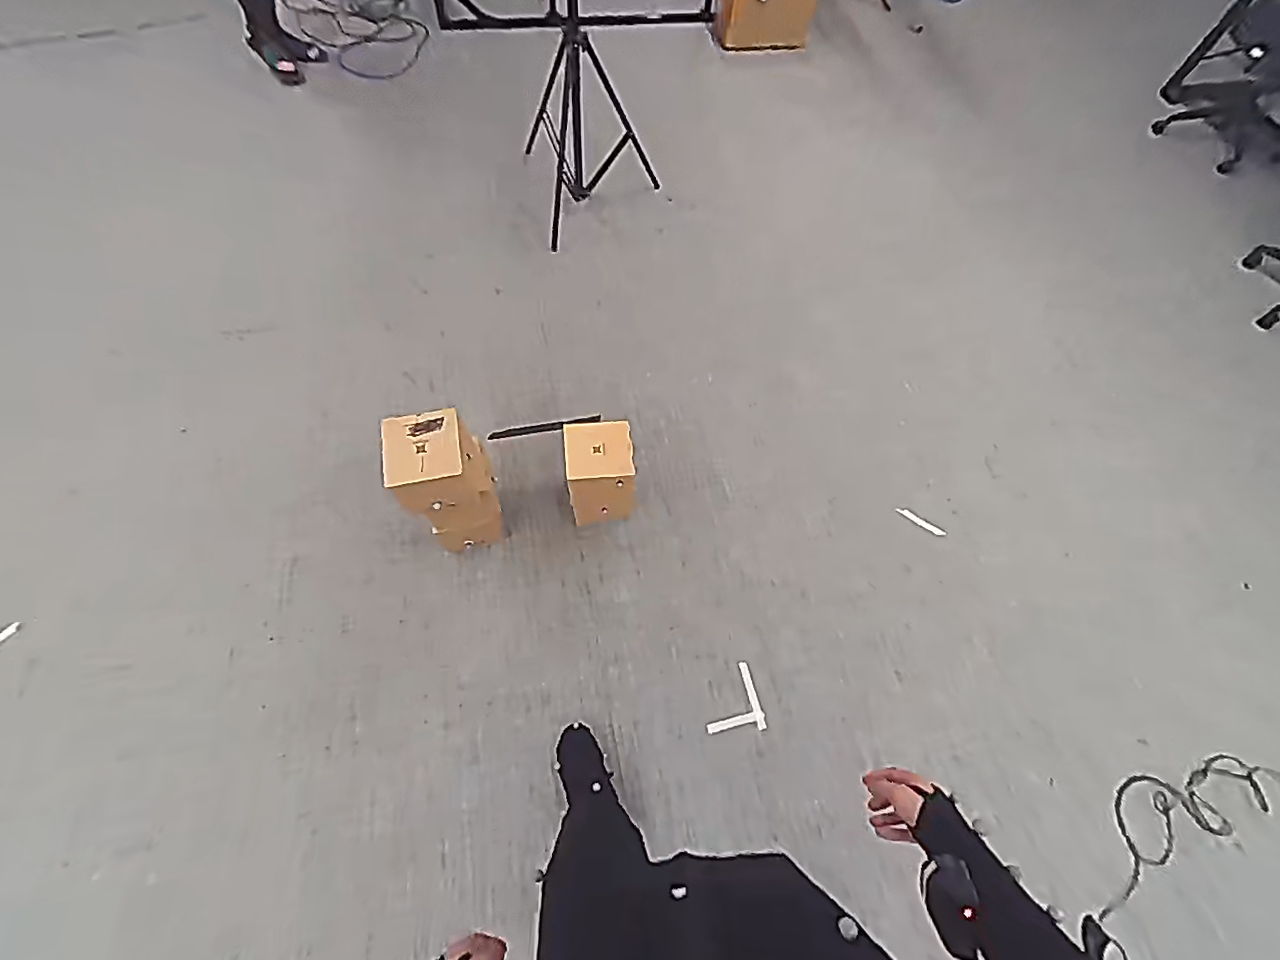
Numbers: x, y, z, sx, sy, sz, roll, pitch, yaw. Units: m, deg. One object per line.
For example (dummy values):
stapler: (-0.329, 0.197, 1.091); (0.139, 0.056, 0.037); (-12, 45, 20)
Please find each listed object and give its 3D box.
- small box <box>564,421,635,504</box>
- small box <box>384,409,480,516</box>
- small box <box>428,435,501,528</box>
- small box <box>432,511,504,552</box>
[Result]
small box: (-0.110, -0.041, 1.461); (0.179, 0.176, 0.168); (-4, 65, -6)
small box: (-0.476, -0.037, 1.250); (0.168, 0.176, 0.179); (-11, 66, -7)
small box: (-0.476, 0.010, 1.410); (0.179, 0.176, 0.168); (-14, 66, -10)
small box: (-0.497, 0.087, 1.554); (0.168, 0.176, 0.179); (-13, 66, -9)
